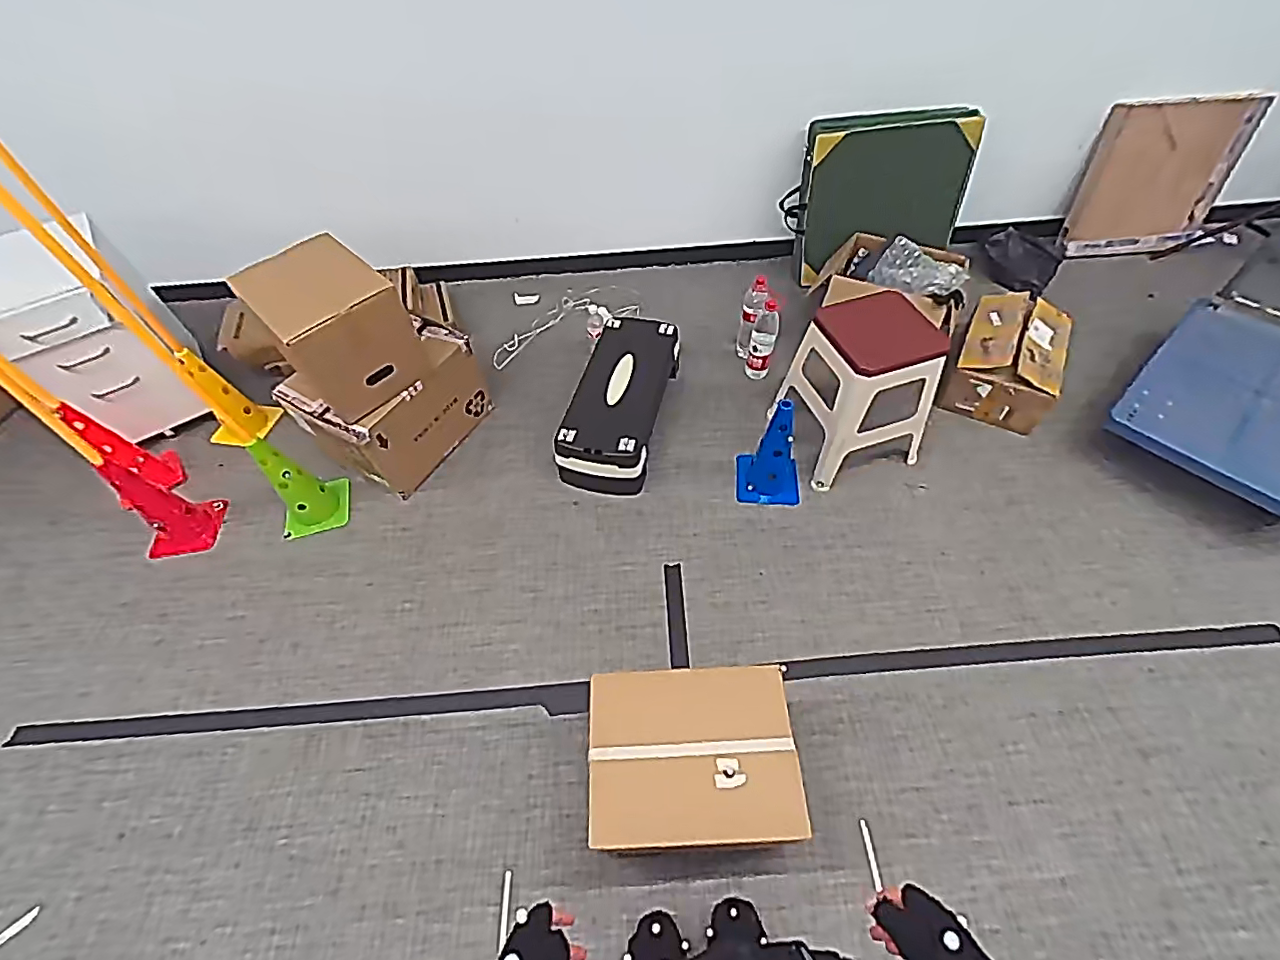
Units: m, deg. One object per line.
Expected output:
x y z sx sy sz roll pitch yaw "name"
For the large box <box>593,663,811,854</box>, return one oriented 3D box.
0.109 0.616 1.186 0.408 0.320 0.320 -3 54 -1 "large box"
